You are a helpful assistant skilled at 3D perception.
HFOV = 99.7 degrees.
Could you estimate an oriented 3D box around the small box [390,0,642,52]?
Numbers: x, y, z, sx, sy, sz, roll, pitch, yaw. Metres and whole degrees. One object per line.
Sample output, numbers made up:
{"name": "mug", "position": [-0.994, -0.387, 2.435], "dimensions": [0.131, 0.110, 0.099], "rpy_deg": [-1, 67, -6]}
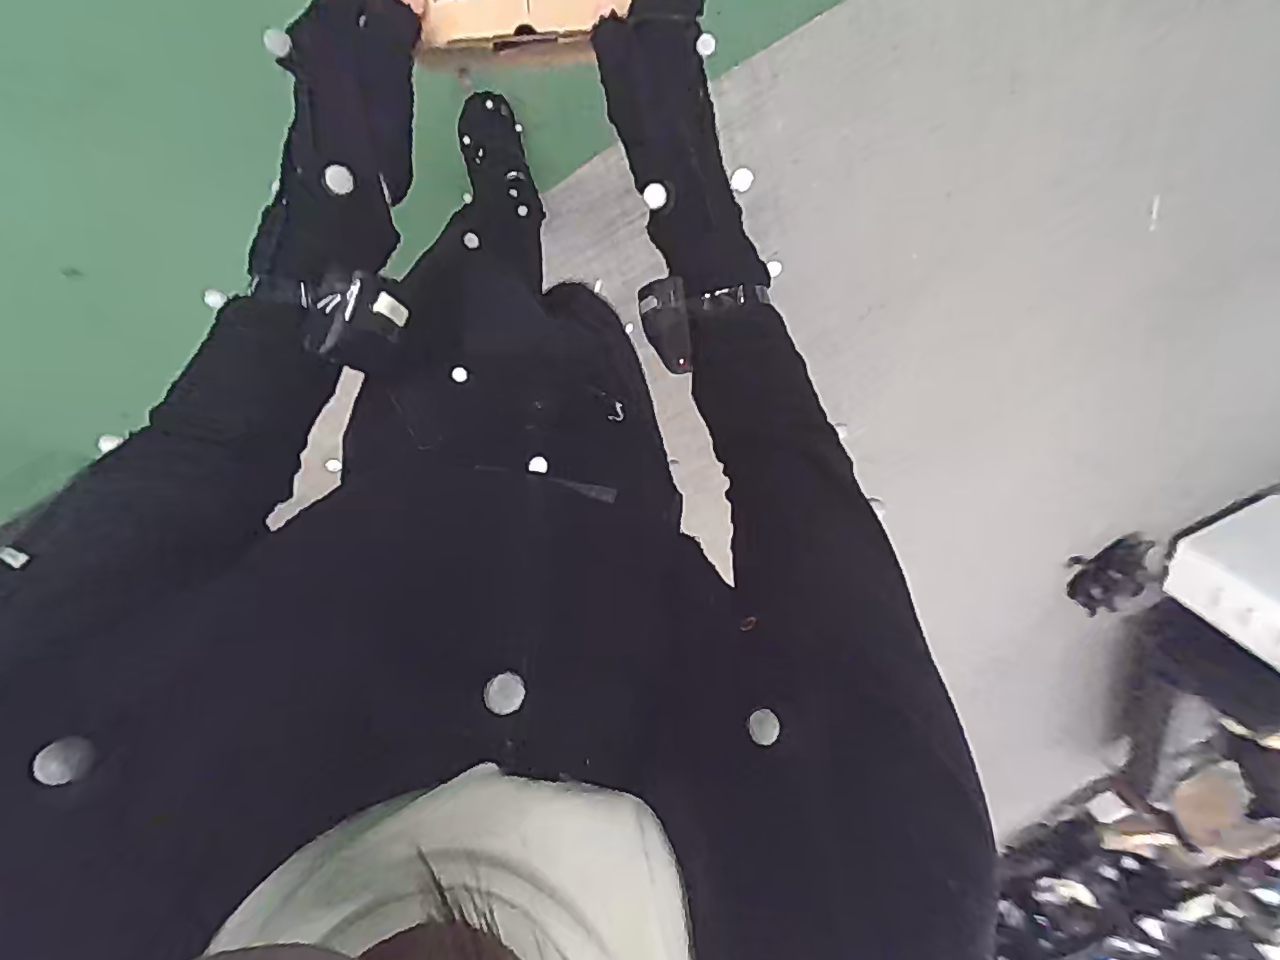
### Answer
{"name": "small box", "position": [-0.098, -0.416, 0.375], "dimensions": [0.168, 0.176, 0.179], "rpy_deg": [-10, 123, -8]}
